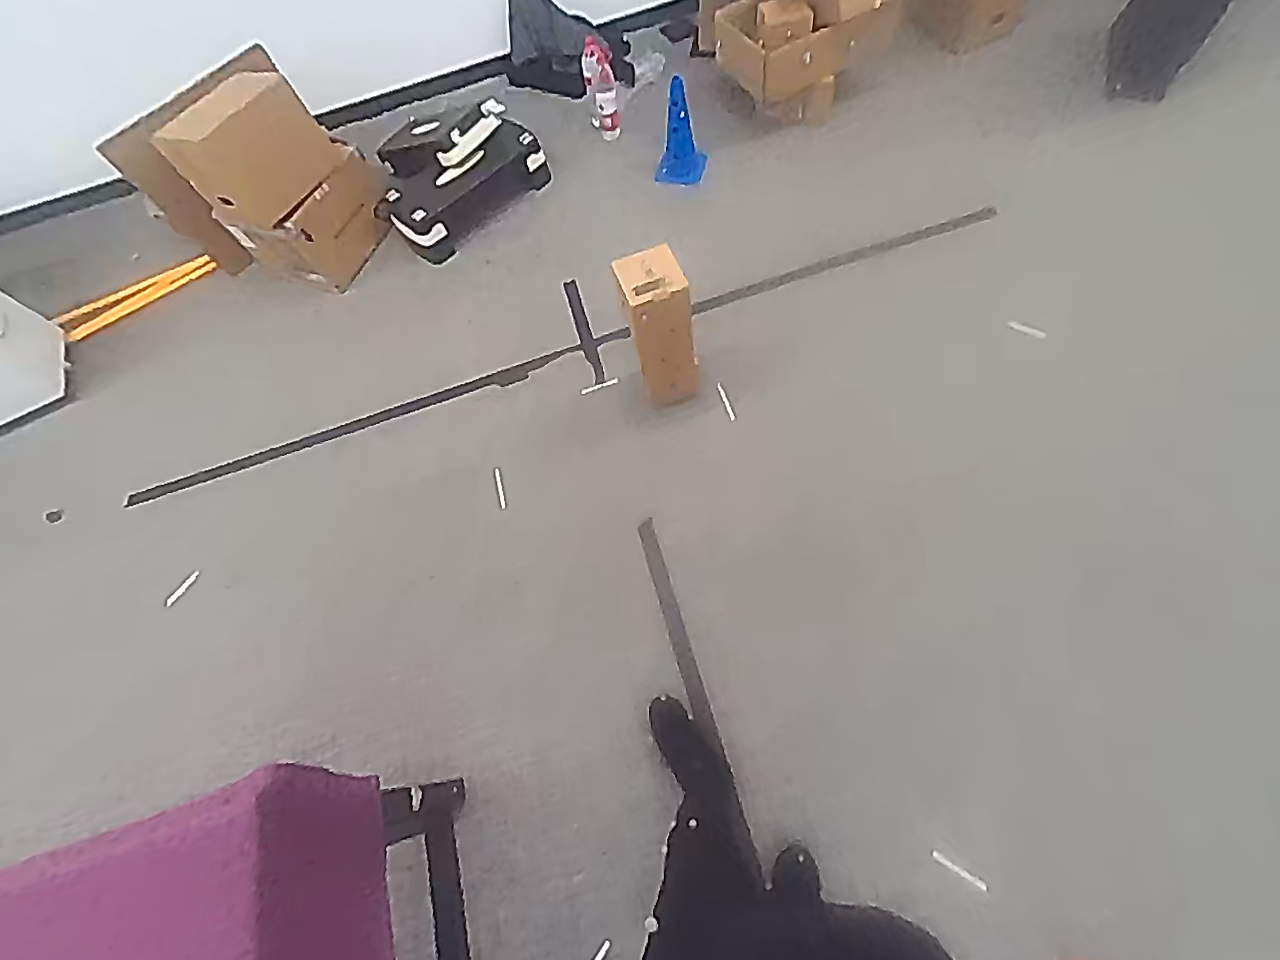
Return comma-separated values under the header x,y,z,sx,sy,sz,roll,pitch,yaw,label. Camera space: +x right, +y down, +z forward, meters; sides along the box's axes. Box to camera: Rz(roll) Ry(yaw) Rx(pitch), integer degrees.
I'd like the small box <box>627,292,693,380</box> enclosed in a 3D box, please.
x,y,z,sx,sy,sz,roll,pitch,yaw,label
0.063,-0.436,1.656,0.168,0.176,0.179,-15,64,1,small box

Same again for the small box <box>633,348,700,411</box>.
x,y,z,sx,sy,sz,roll,pitch,yaw,label
0.091,-0.358,1.796,0.179,0.176,0.168,-19,64,-1,small box
